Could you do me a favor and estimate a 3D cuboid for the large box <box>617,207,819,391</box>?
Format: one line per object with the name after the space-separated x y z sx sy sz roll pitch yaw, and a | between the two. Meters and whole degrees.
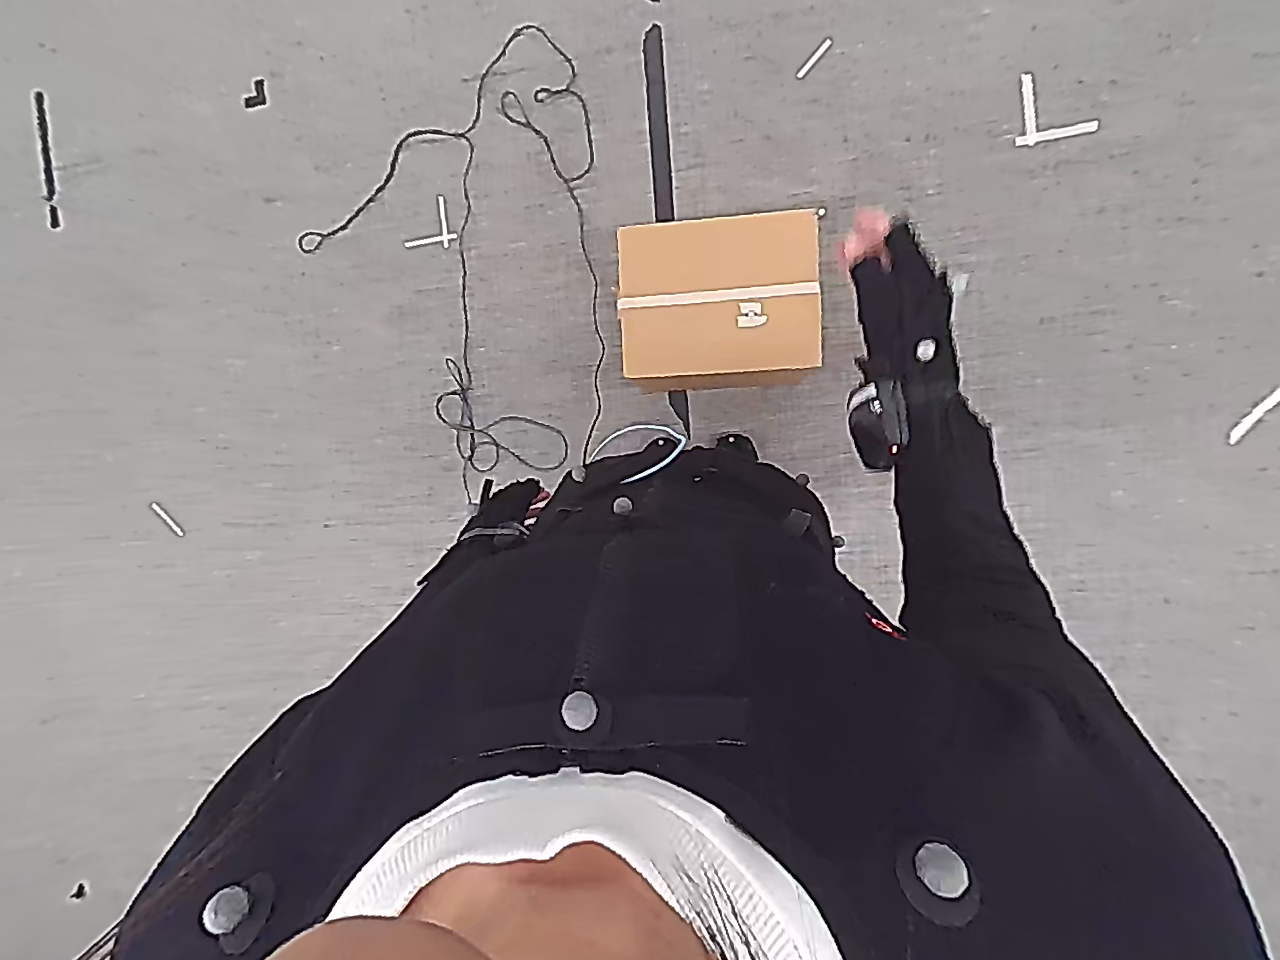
0.173 -0.389 1.254 0.408 0.320 0.320 -2 94 7 | large box
